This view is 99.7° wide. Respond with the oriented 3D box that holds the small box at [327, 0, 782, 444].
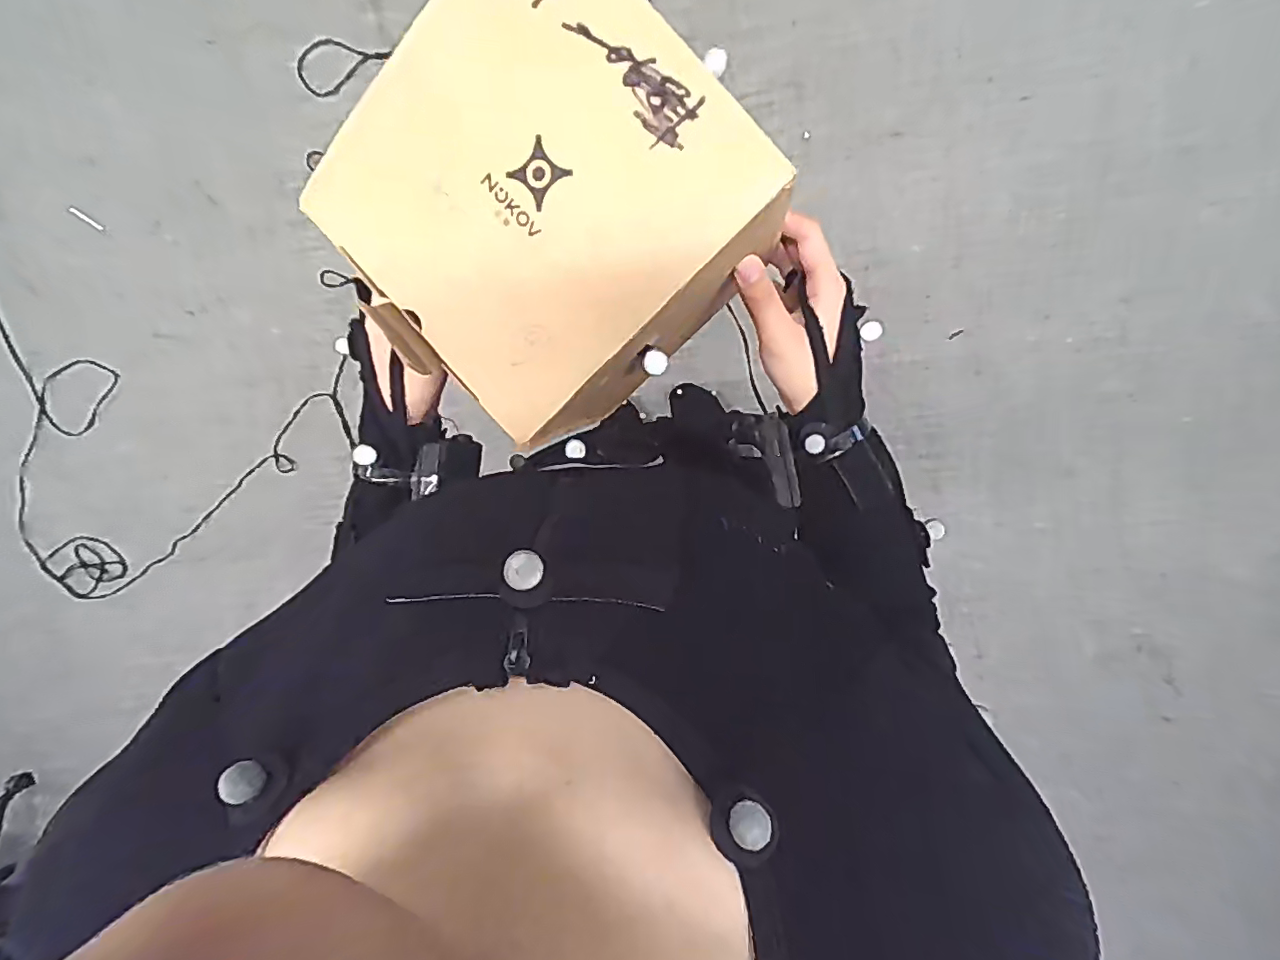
[{"bbox_3d":[-0.034,-0.146,0.336,0.179,0.176,0.168,-42,92,15],"label":"small box"}]
